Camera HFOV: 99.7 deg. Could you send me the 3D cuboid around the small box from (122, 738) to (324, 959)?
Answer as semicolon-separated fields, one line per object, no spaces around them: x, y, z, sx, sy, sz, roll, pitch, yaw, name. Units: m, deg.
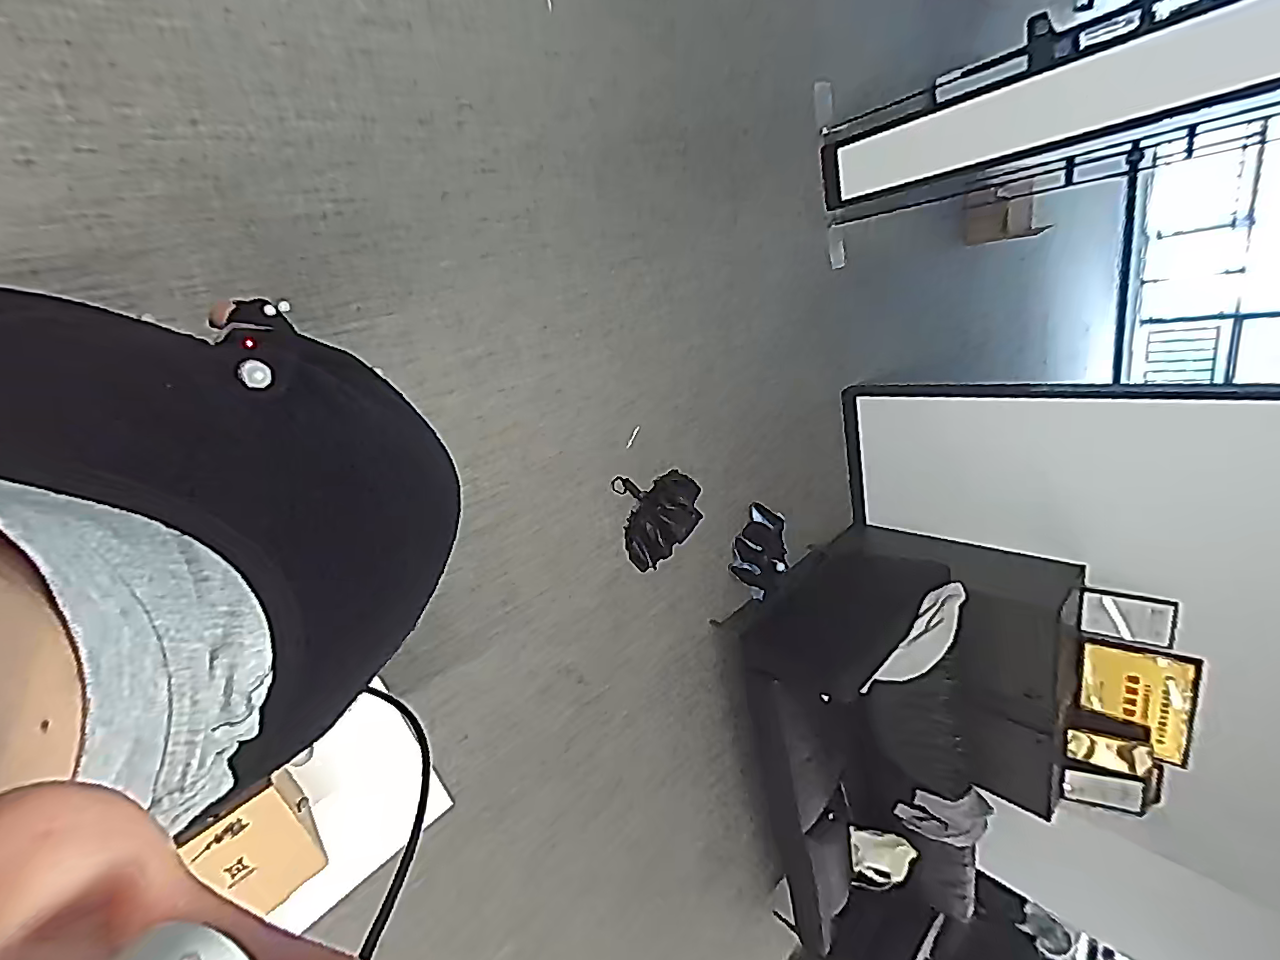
-0.595;0.520;0.782;0.168;0.176;0.179;-31;118;-34;small box
